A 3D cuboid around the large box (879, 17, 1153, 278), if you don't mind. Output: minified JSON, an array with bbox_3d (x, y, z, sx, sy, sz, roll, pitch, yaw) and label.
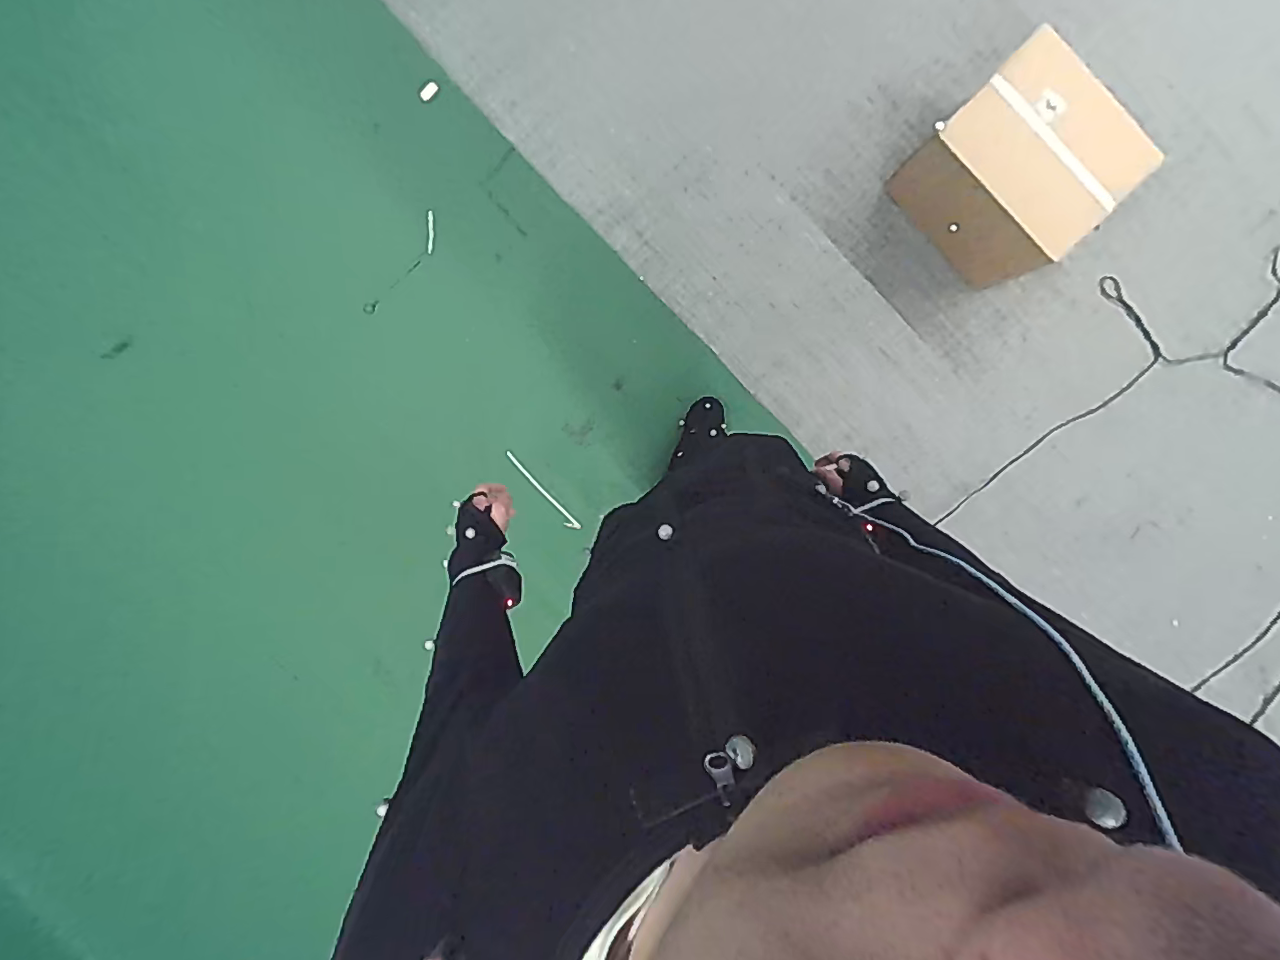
[{"bbox_3d":[0.897,-0.787,1.350,0.408,0.320,0.320,44,97,-2],"label":"large box"}]
